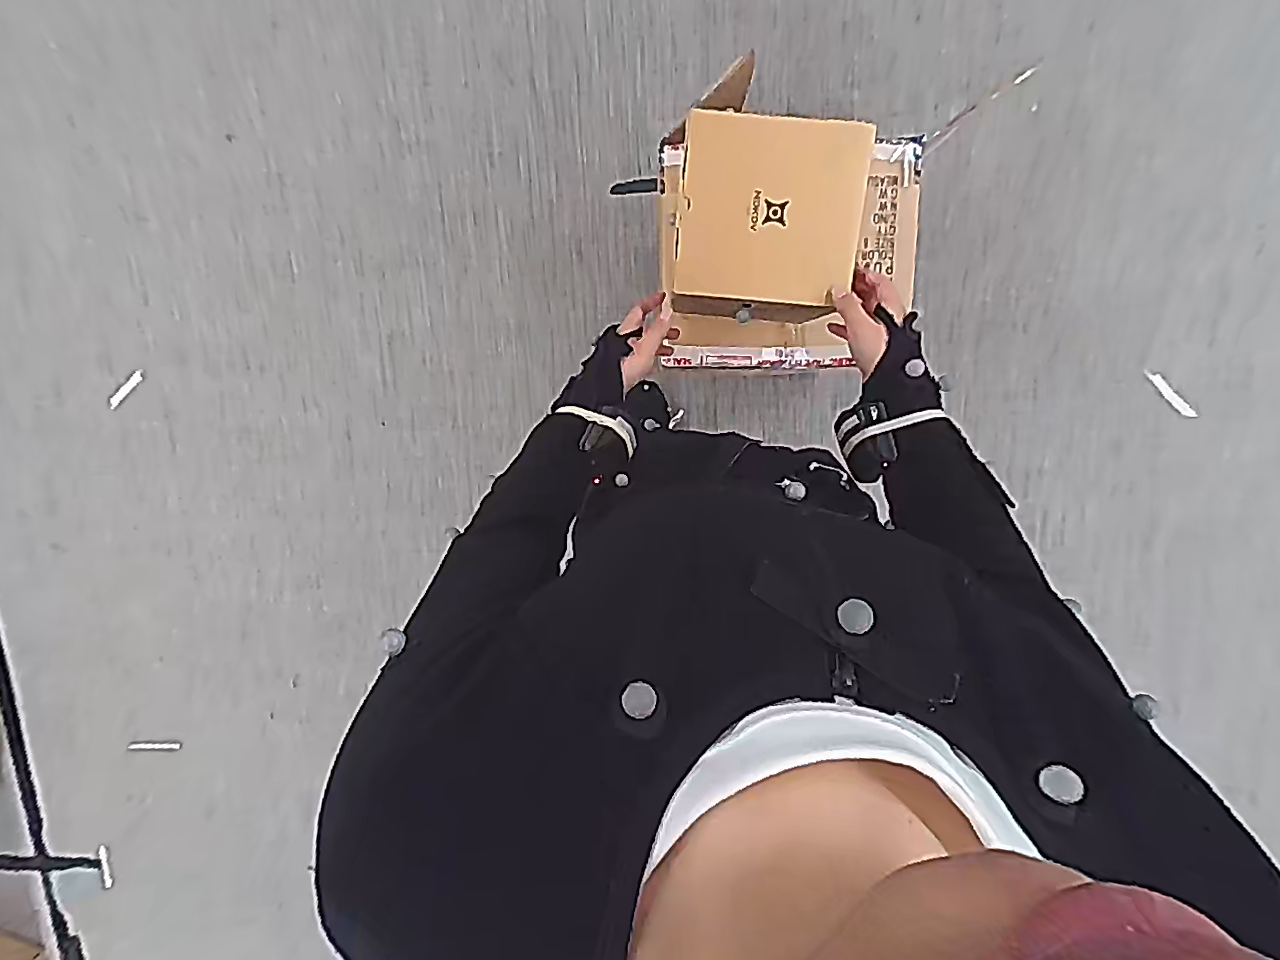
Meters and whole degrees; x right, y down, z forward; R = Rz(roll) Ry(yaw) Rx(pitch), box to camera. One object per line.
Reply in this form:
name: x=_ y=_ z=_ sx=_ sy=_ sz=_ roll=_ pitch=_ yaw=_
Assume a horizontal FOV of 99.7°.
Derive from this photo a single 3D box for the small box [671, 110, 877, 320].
small box: x=0.130 y=-0.273 z=0.595 sx=0.179 sy=0.176 sz=0.168 roll=6 pitch=101 yaw=3
